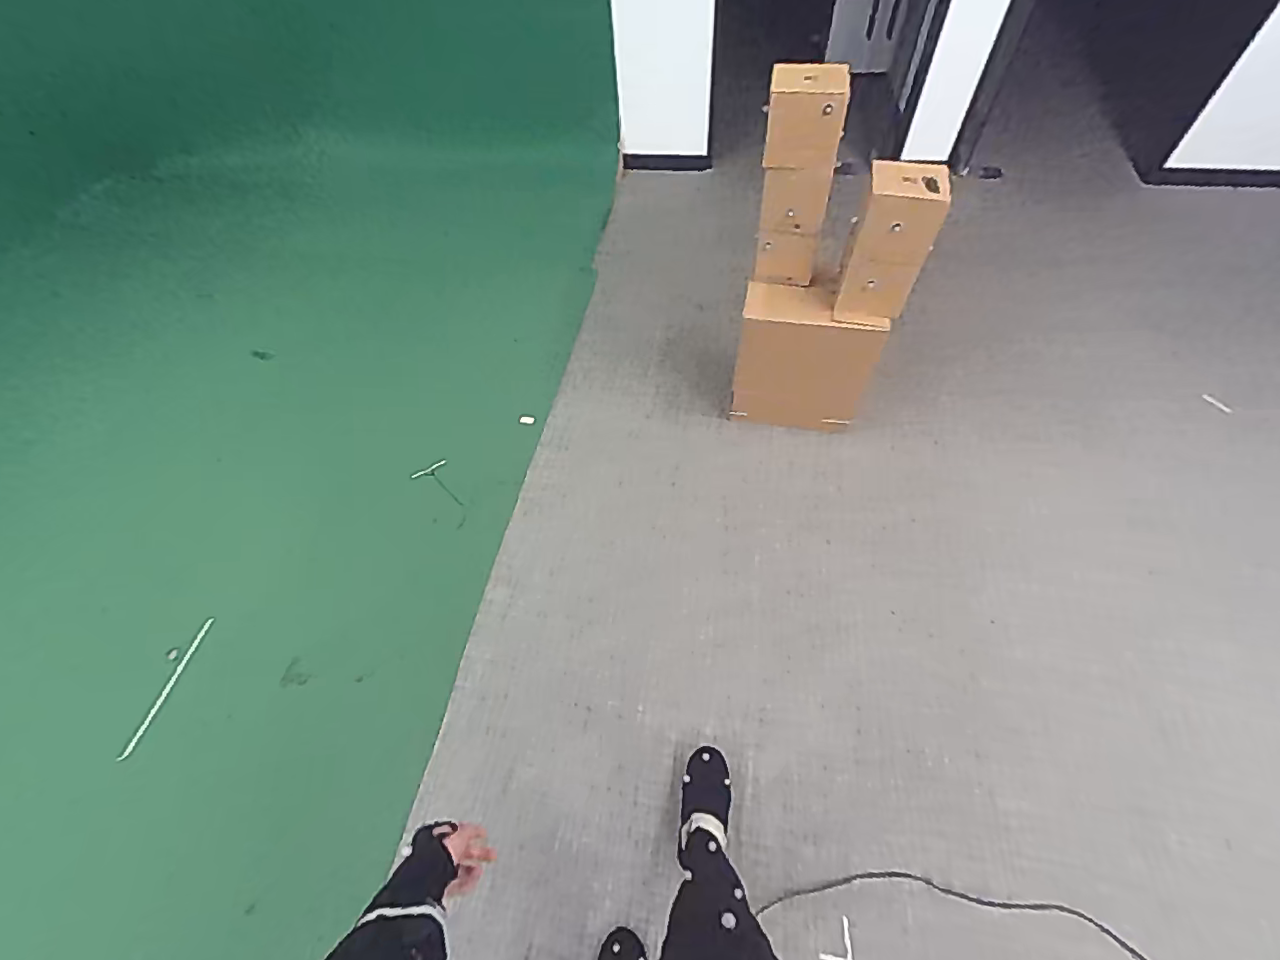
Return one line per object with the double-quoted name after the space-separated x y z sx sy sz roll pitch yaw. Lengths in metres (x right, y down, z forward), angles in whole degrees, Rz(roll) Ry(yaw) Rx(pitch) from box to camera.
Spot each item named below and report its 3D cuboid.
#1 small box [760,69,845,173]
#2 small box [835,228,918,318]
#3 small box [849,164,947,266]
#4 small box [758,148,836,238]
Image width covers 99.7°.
0.394 -0.877 1.327 0.179 0.176 0.168 7 56 9 "small box"
0.645 -0.569 1.492 0.179 0.176 0.168 9 59 11 "small box"
0.641 -0.661 1.356 0.179 0.176 0.168 10 57 11 "small box"
0.419 -0.784 1.460 0.168 0.176 0.179 11 57 13 "small box"
